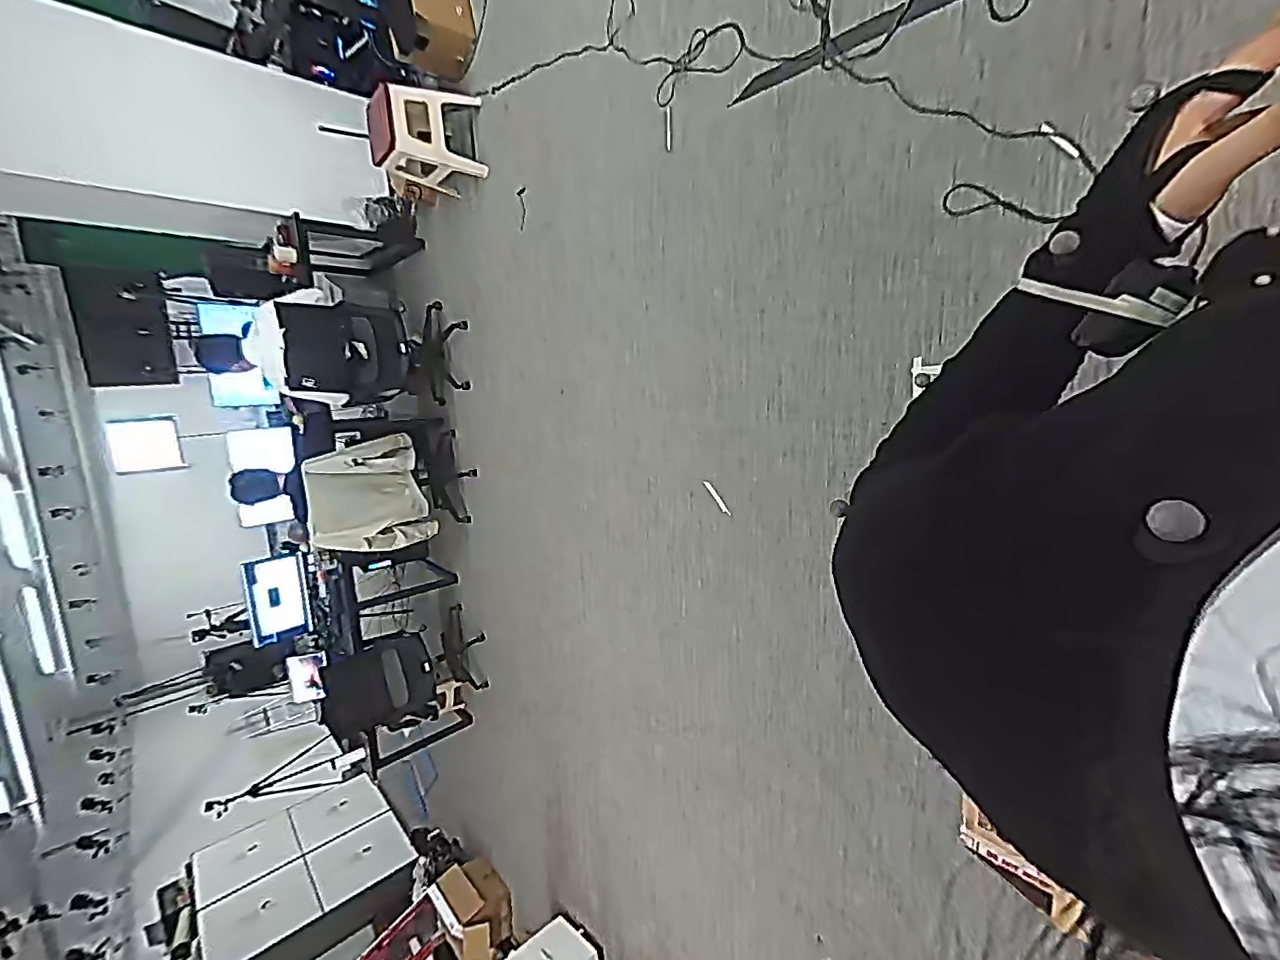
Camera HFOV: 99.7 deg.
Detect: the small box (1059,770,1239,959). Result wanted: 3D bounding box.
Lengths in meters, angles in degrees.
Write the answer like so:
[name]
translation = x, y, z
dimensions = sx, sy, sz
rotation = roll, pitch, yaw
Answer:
[small box]
translation = 0.721, 0.560, 0.768
dimensions = 0.168, 0.176, 0.179
rotation = 6, 100, 47
